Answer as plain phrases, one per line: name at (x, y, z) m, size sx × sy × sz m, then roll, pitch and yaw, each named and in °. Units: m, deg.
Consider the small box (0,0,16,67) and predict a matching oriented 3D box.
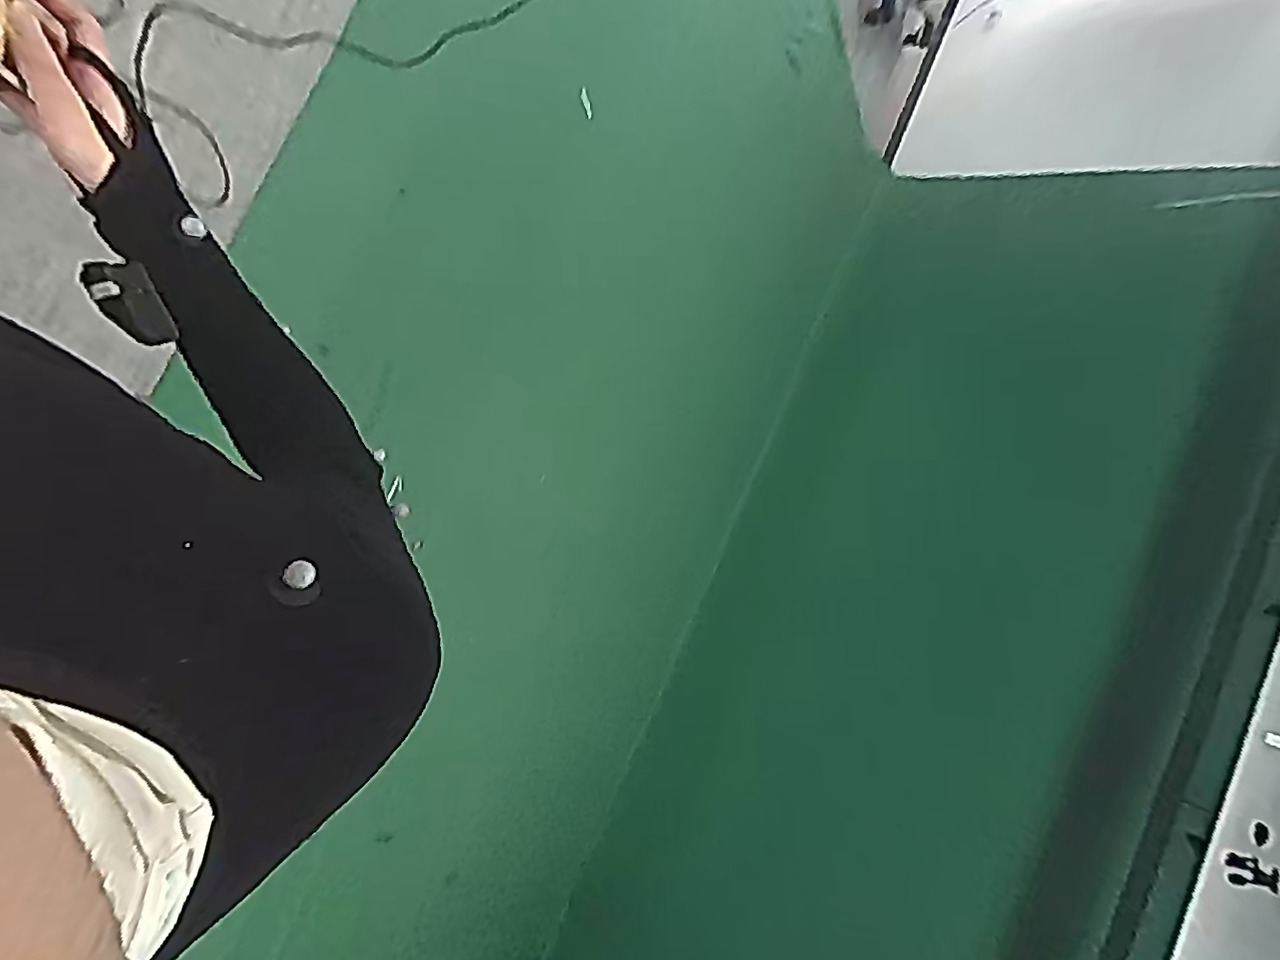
small box at (-0.455, -0.358, 0.284) m, size 0.168 × 0.176 × 0.179 m, roll 3°, pitch 104°, yaw -52°
